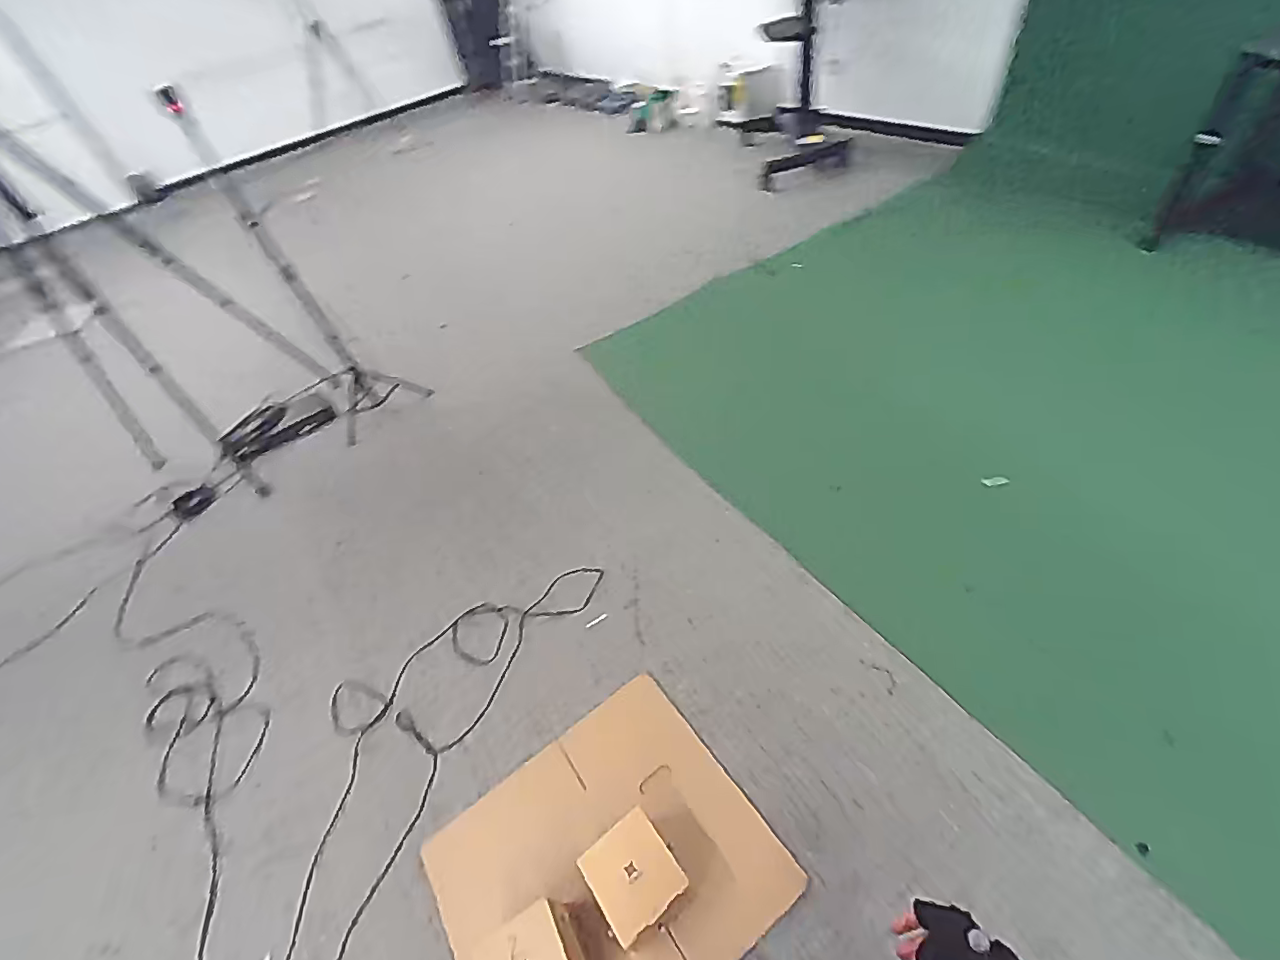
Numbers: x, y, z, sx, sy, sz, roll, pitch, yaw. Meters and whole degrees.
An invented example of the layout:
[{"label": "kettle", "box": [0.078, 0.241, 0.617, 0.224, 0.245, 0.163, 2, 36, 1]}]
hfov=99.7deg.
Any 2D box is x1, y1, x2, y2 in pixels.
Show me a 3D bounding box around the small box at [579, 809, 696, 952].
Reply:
[{"label": "small box", "box": [0.000, 0.840, 1.131, 0.168, 0.176, 0.179, -35, 50, -19]}]
